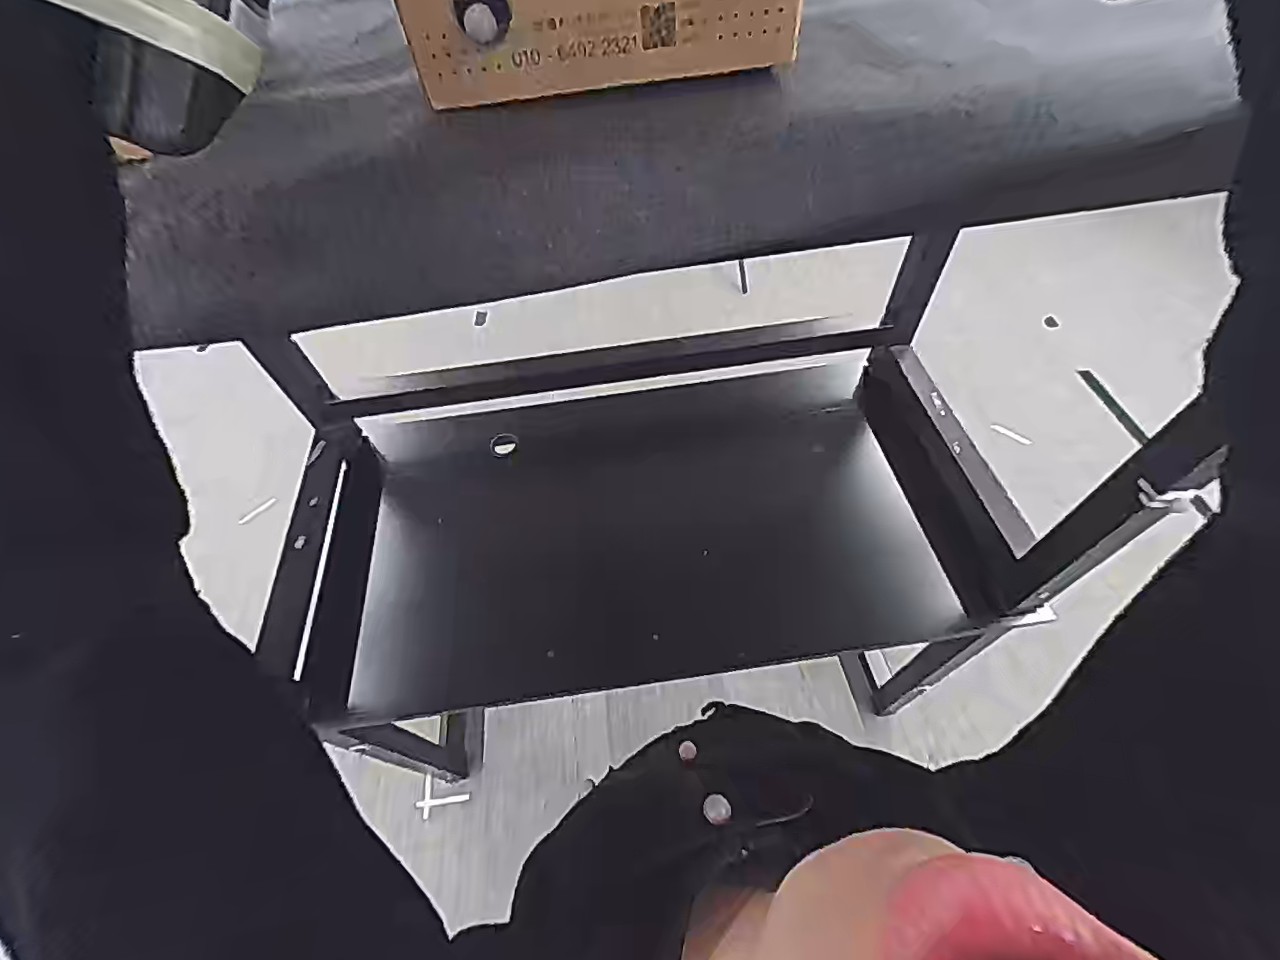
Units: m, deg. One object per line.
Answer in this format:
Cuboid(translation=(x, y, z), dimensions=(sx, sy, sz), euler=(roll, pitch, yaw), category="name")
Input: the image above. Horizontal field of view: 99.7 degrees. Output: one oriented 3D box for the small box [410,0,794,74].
Cuboid(translation=(-0.027, -0.294, 0.225), dimensions=(0.168, 0.176, 0.179), euler=(-8, 52, -1), category="small box")
